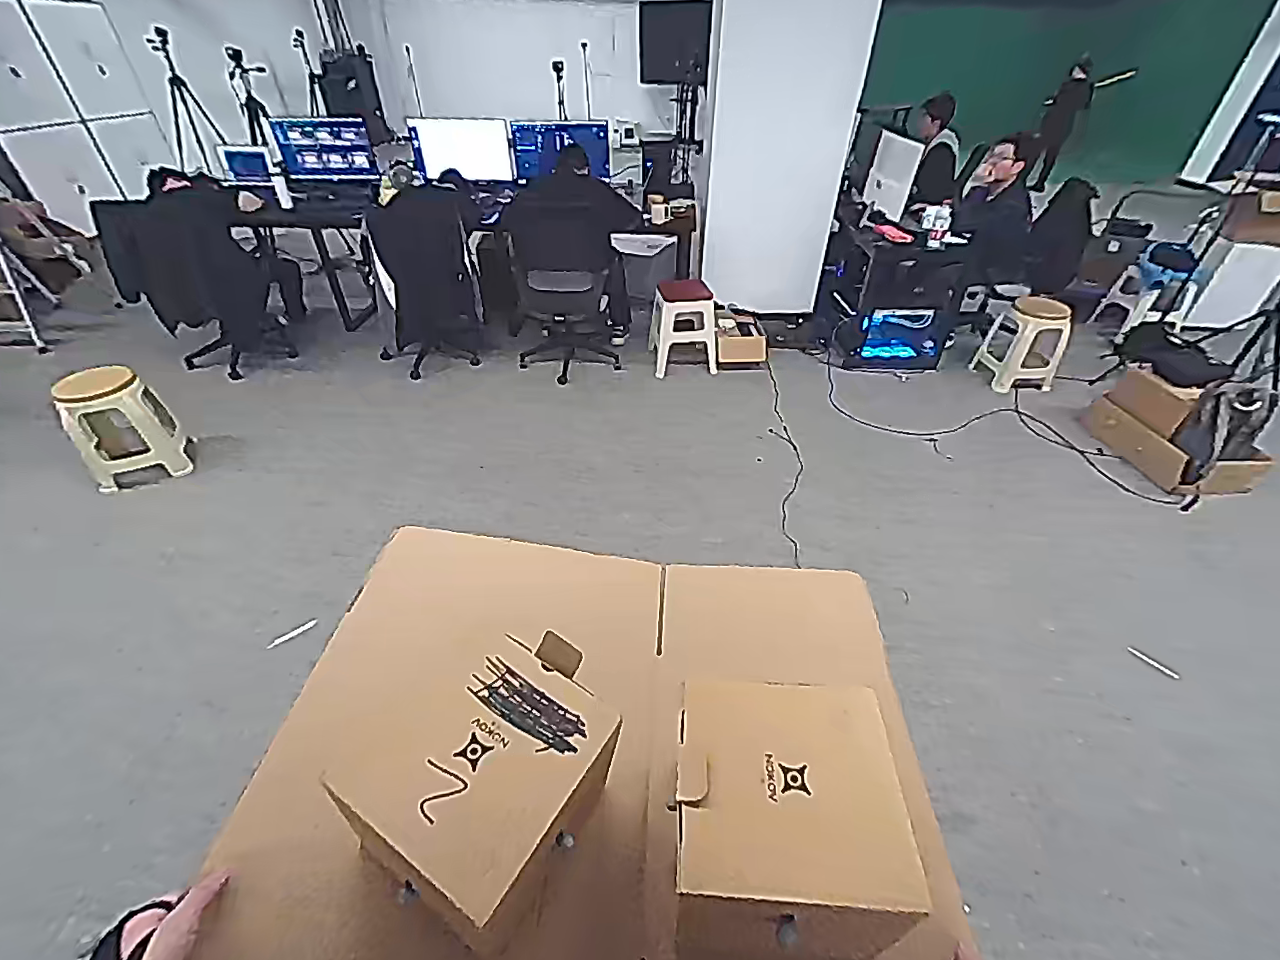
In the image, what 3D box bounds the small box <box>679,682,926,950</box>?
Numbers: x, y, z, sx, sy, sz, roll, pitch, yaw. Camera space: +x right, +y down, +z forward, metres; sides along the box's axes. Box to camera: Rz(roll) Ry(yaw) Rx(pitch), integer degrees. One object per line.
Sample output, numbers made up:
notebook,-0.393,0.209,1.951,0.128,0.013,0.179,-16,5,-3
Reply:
small box,0.127,0.309,0.500,0.179,0.176,0.168,0,40,5
